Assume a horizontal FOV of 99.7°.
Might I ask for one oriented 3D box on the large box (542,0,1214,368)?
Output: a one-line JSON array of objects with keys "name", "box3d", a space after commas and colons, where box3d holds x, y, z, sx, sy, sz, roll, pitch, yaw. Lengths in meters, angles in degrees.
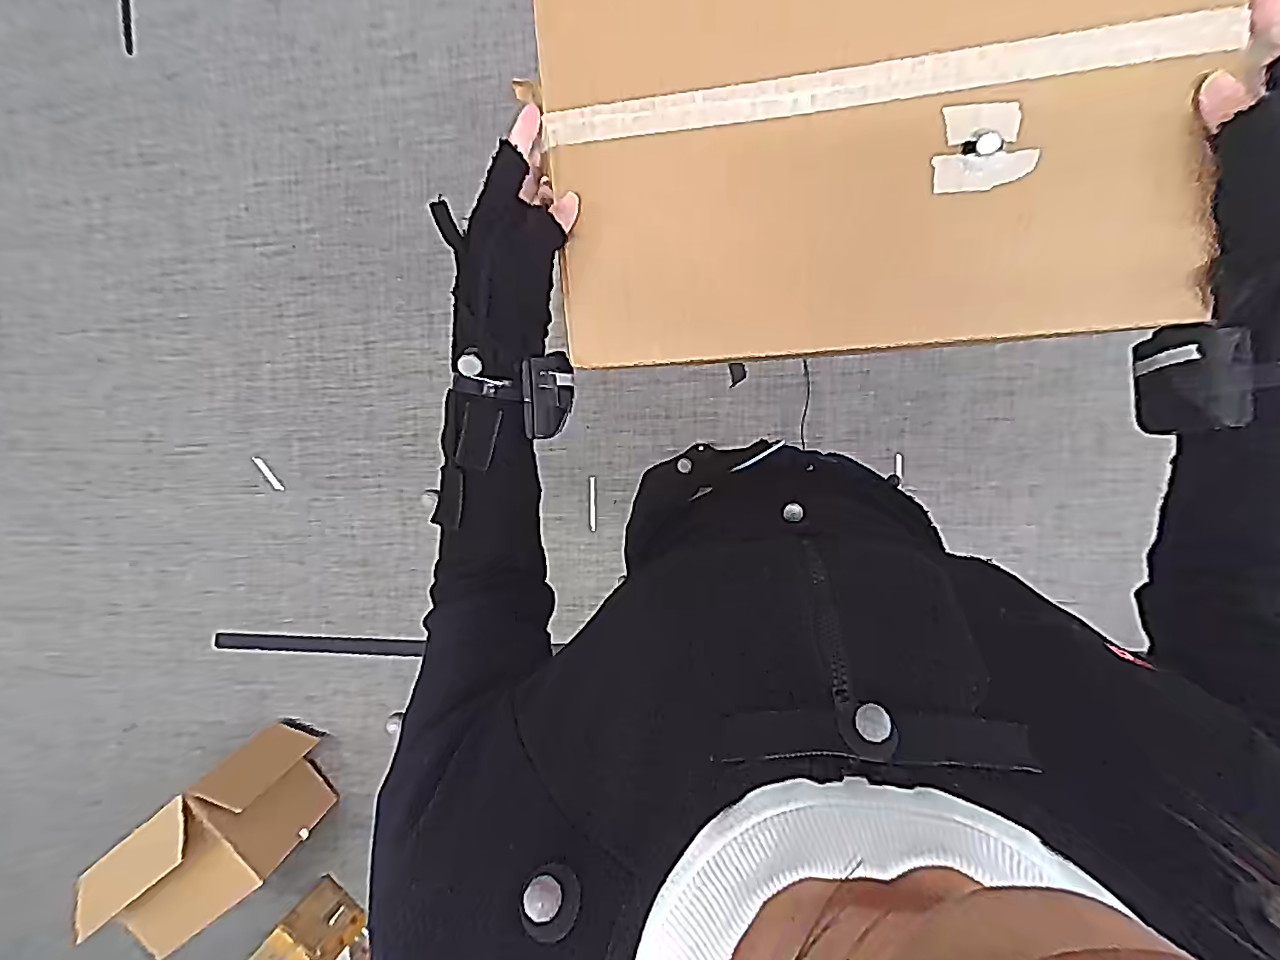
[{"name": "large box", "box3d": [0.155, -0.277, 0.491, 0.408, 0.320, 0.320, -3, 102, 7]}]
